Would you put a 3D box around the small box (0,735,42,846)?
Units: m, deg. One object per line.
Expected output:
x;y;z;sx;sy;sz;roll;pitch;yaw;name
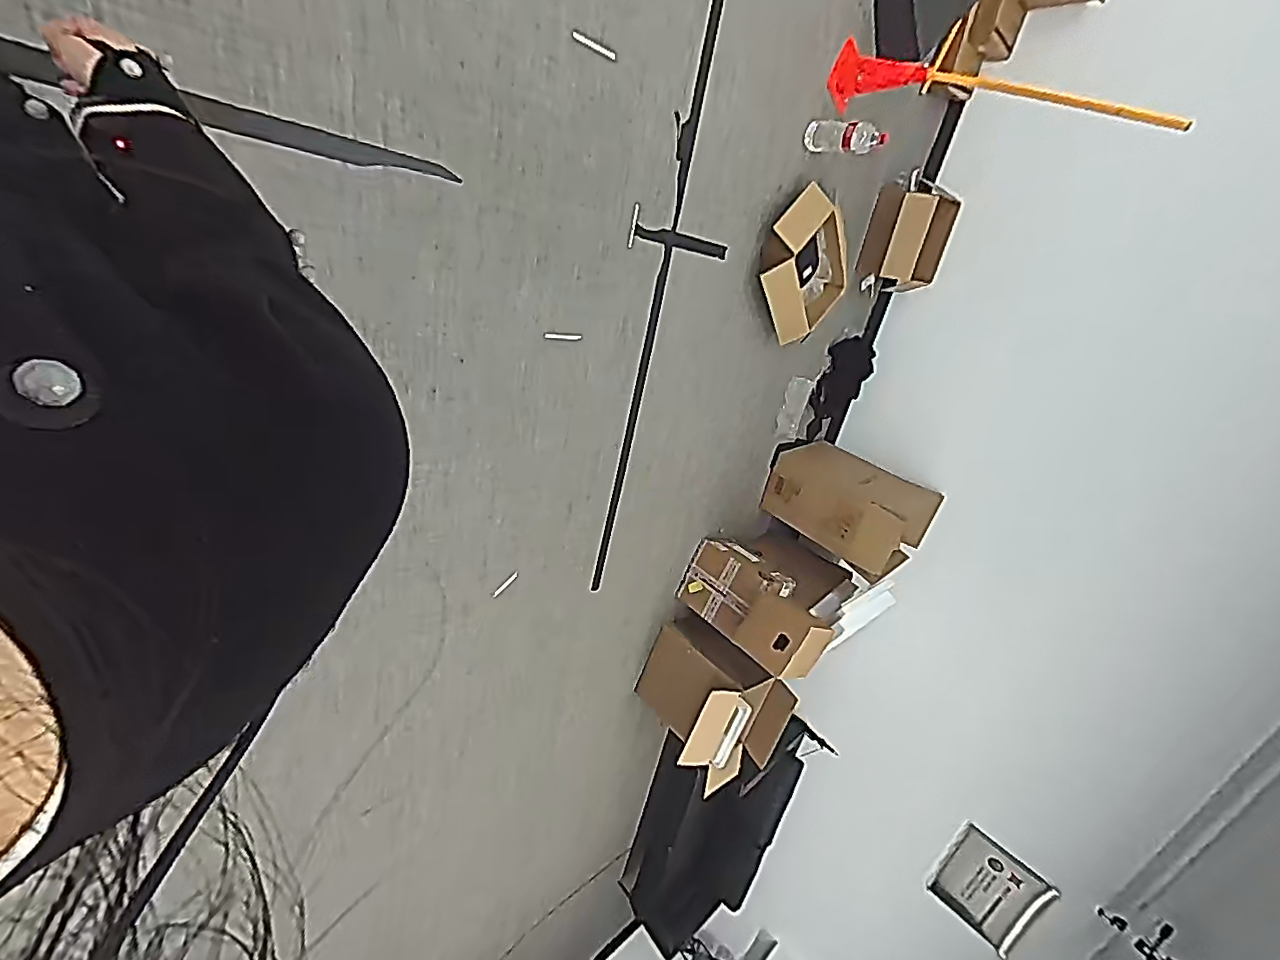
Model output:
-1.456;0.696;1.187;0.168;0.176;0.179;-12;124;-42;small box
